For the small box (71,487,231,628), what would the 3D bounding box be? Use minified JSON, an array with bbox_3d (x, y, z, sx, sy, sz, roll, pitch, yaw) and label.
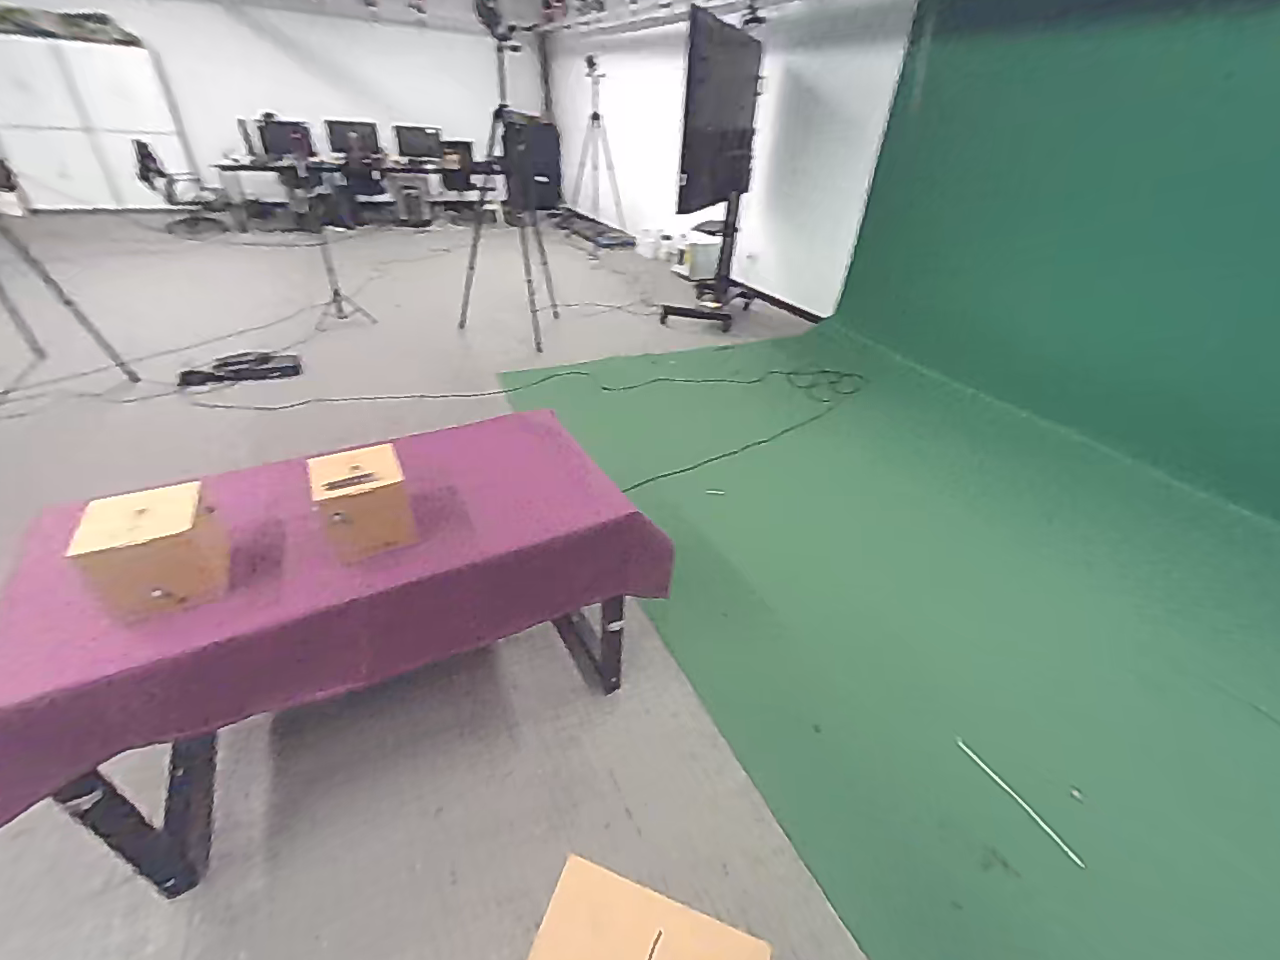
[{"bbox_3d":[-0.897,0.142,1.016,0.168,0.176,0.179,-15,38,-25],"label":"small box"}]
